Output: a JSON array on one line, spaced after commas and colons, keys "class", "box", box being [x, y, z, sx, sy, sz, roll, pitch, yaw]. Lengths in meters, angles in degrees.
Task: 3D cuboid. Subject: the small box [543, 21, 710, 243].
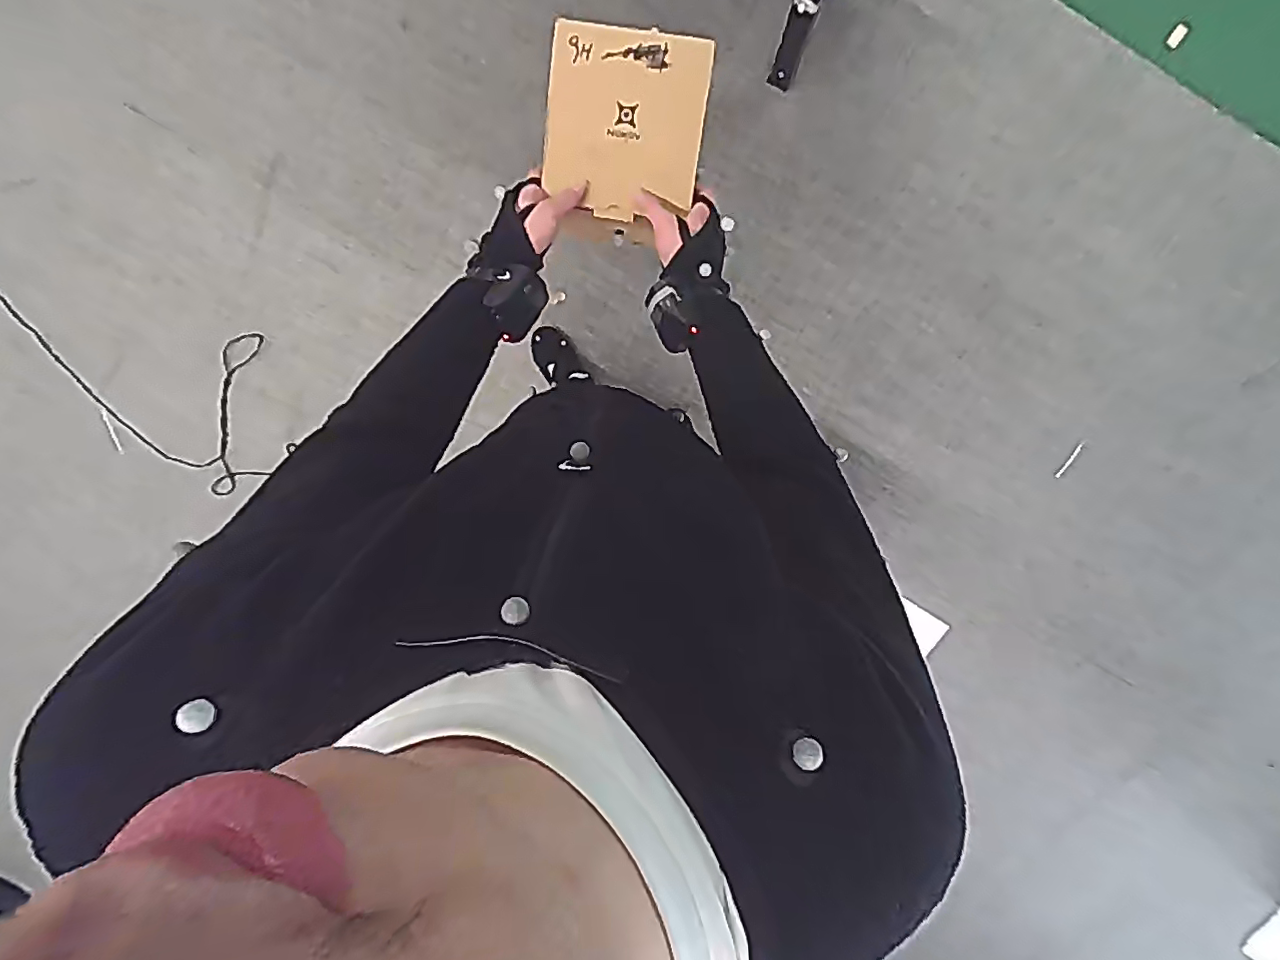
[{"class": "small box", "box": [-0.013, -0.396, 0.648, 0.168, 0.176, 0.179, 6, 103, 1]}]
